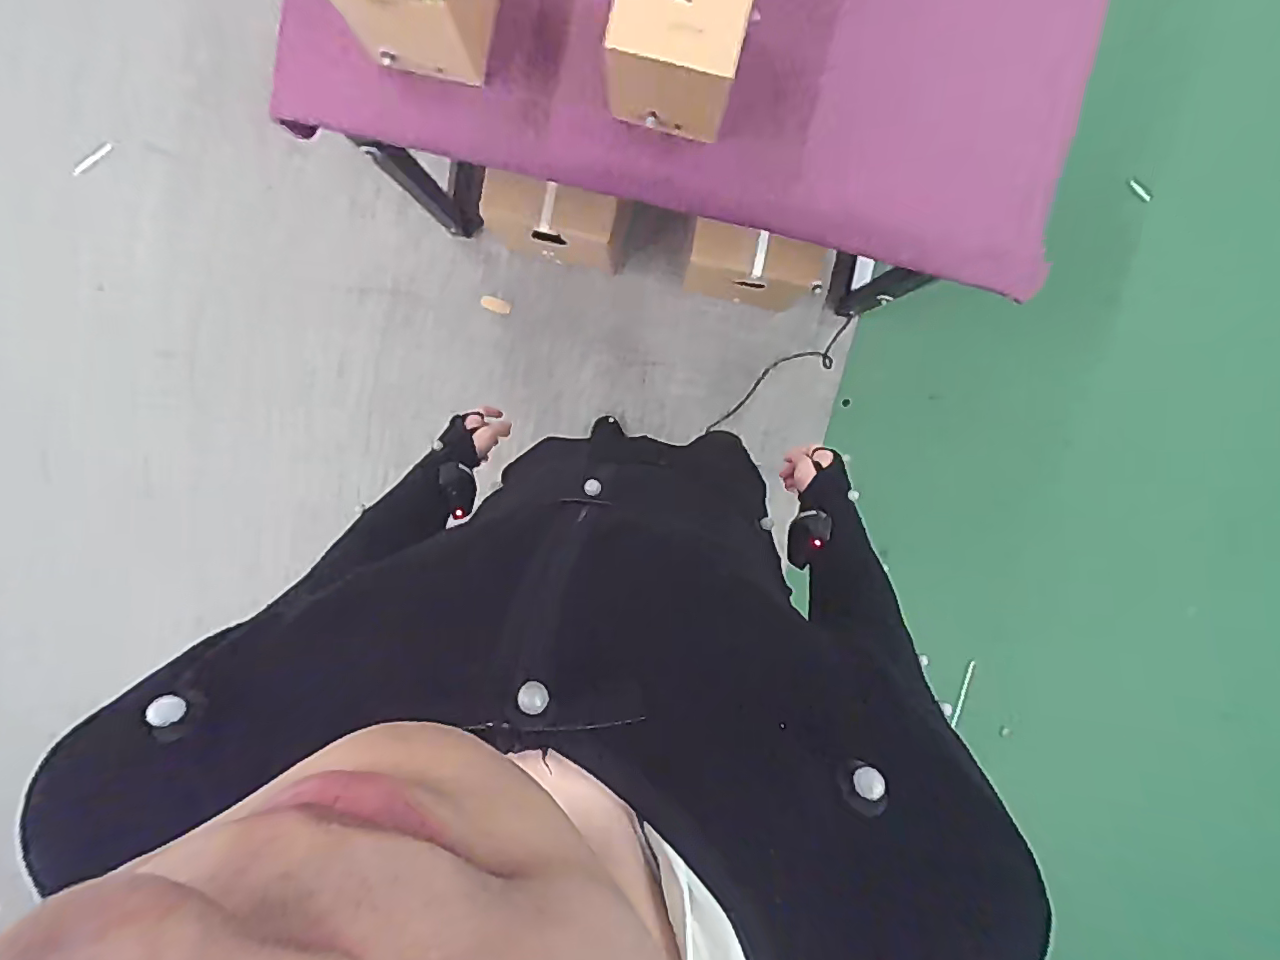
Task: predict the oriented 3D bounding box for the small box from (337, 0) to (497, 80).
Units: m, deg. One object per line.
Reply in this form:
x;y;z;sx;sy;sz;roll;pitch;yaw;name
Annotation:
-0.296;-0.682;0.718;0.168;0.176;0.179;12;95;-2;small box

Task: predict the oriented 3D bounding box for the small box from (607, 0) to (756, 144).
0.058;-0.601;0.730;0.168;0.176;0.179;15;97;-1;small box

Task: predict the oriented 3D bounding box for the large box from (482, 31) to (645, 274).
-0.176;-0.791;1.373;0.320;0.320;0.408;13;96;-2;large box
